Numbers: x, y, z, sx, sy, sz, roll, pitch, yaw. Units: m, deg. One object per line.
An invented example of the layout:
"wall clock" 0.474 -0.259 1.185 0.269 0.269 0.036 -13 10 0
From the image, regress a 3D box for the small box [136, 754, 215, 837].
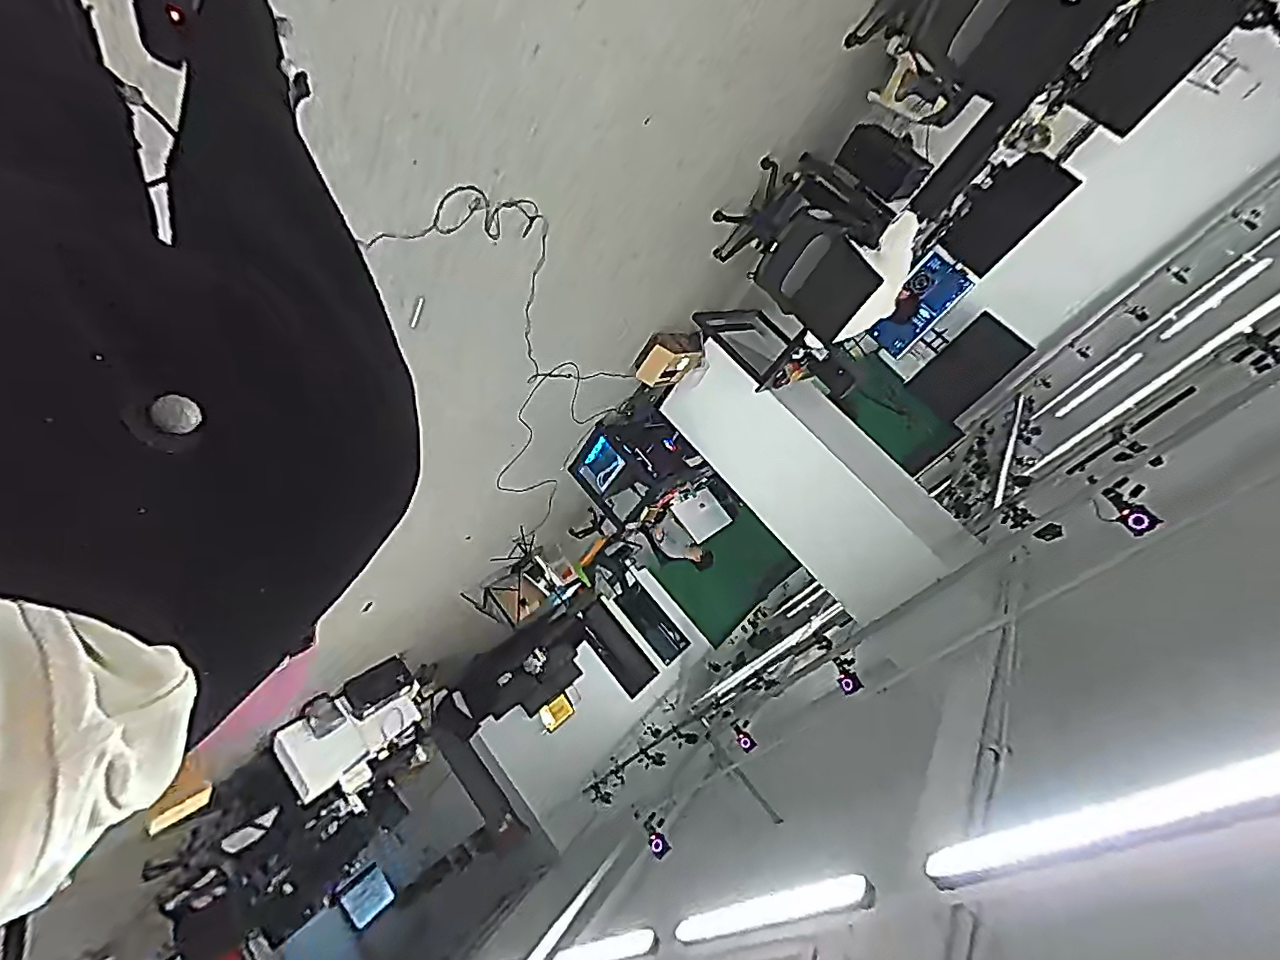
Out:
"small box" -1.644 1.109 1.911 0.168 0.176 0.179 -22 156 -53
